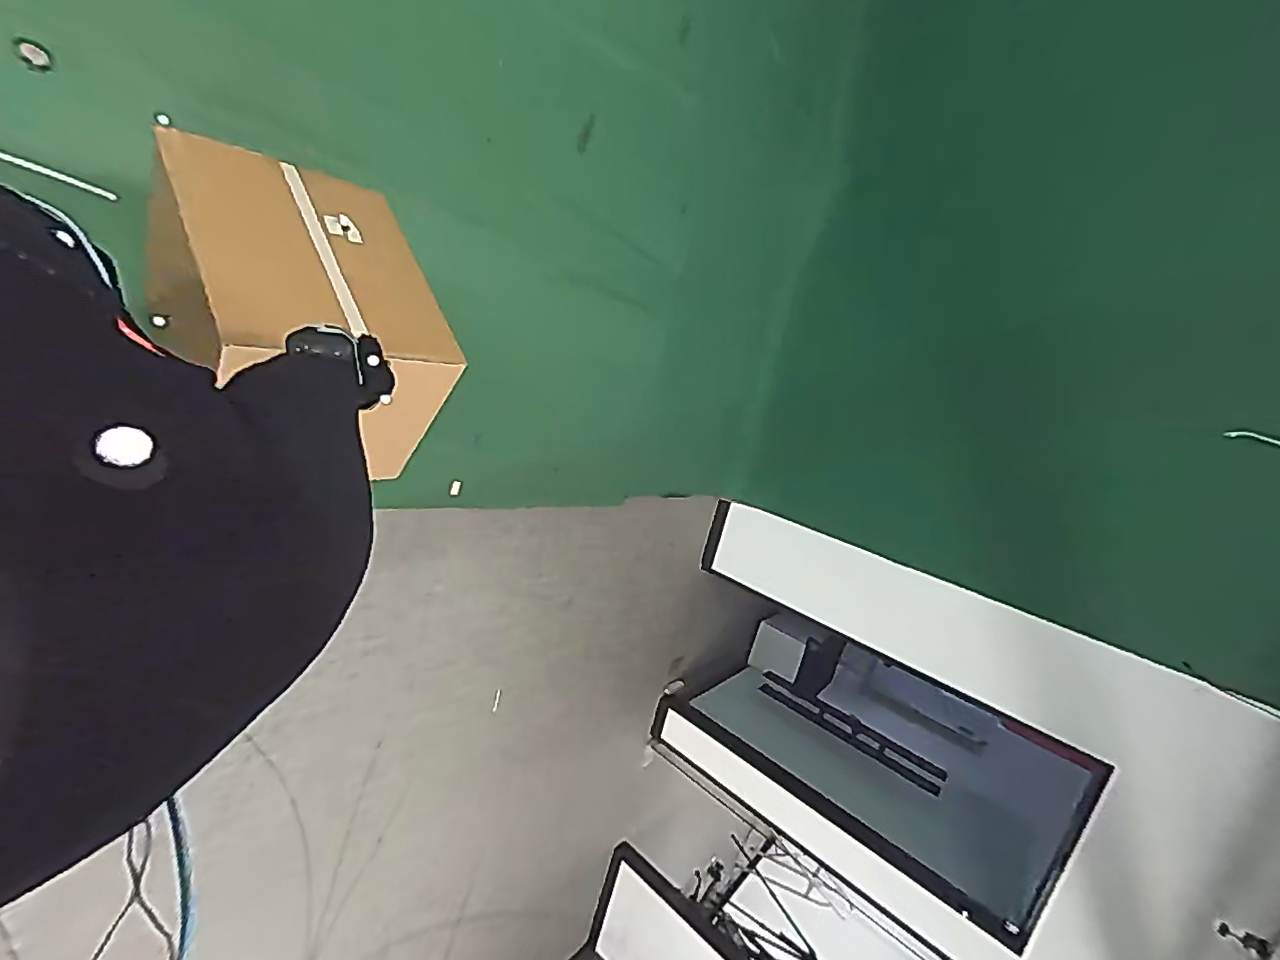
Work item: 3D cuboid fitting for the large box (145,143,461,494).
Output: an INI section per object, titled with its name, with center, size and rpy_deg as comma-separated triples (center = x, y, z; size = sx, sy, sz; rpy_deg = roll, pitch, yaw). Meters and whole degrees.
[large box]
center = -0.563, -0.236, 0.887
size = 0.320, 0.408, 0.320
rpy_deg = -7, 150, -50
